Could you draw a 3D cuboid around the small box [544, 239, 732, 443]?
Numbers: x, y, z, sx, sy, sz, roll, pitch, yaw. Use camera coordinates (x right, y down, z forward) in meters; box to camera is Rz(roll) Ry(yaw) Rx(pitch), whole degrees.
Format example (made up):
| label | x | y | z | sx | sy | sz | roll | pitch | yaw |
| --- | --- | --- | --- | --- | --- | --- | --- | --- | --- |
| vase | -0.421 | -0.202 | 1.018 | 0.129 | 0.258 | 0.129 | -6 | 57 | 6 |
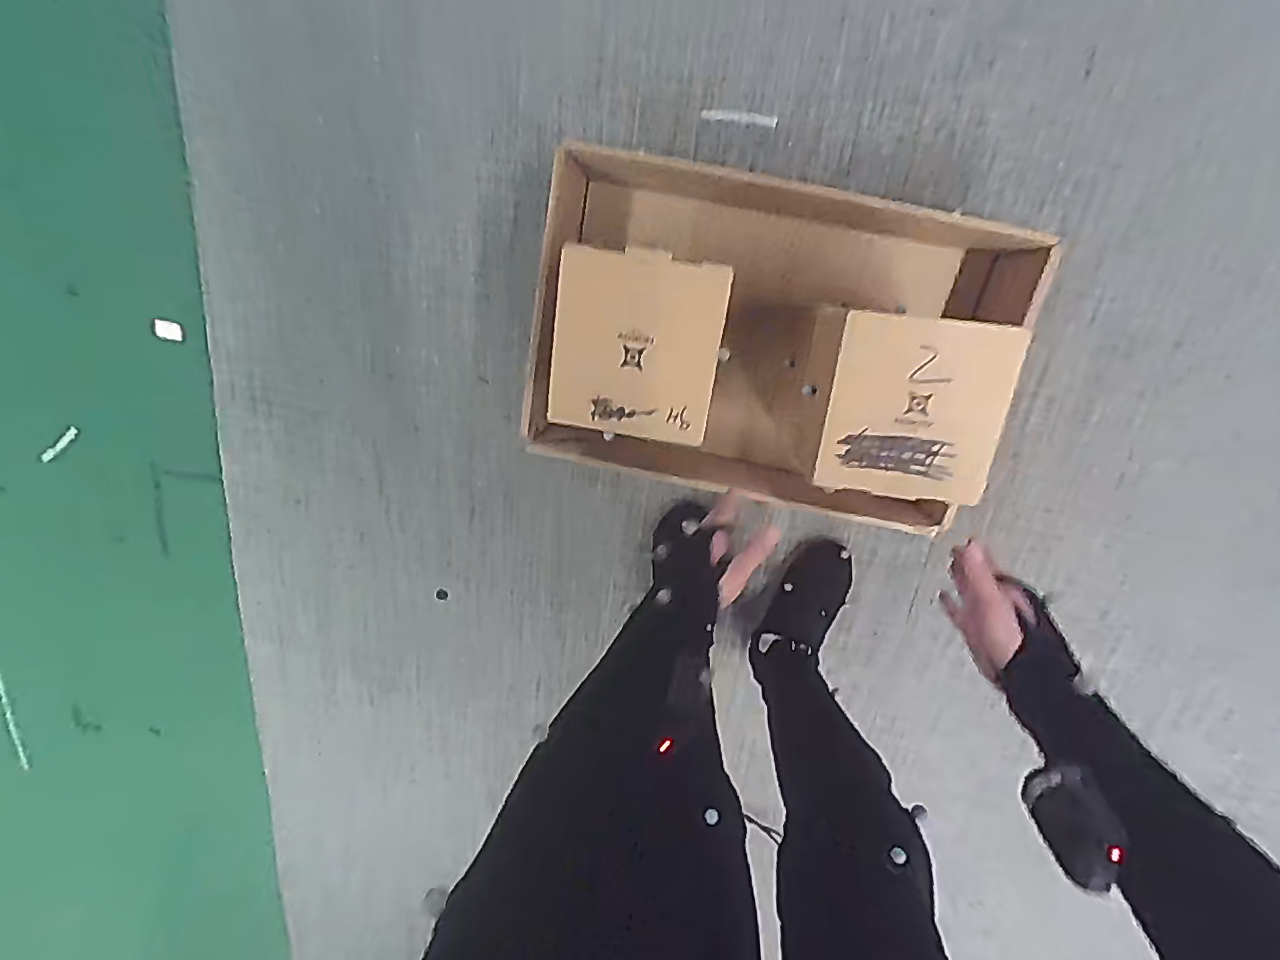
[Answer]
| label | x | y | z | sx | sy | sz | roll | pitch | yaw |
| --- | --- | --- | --- | --- | --- | --- | --- | --- | --- |
| small box | 0.003 | -0.154 | 0.608 | 0.168 | 0.176 | 0.179 | 10 | 106 | 5 |
